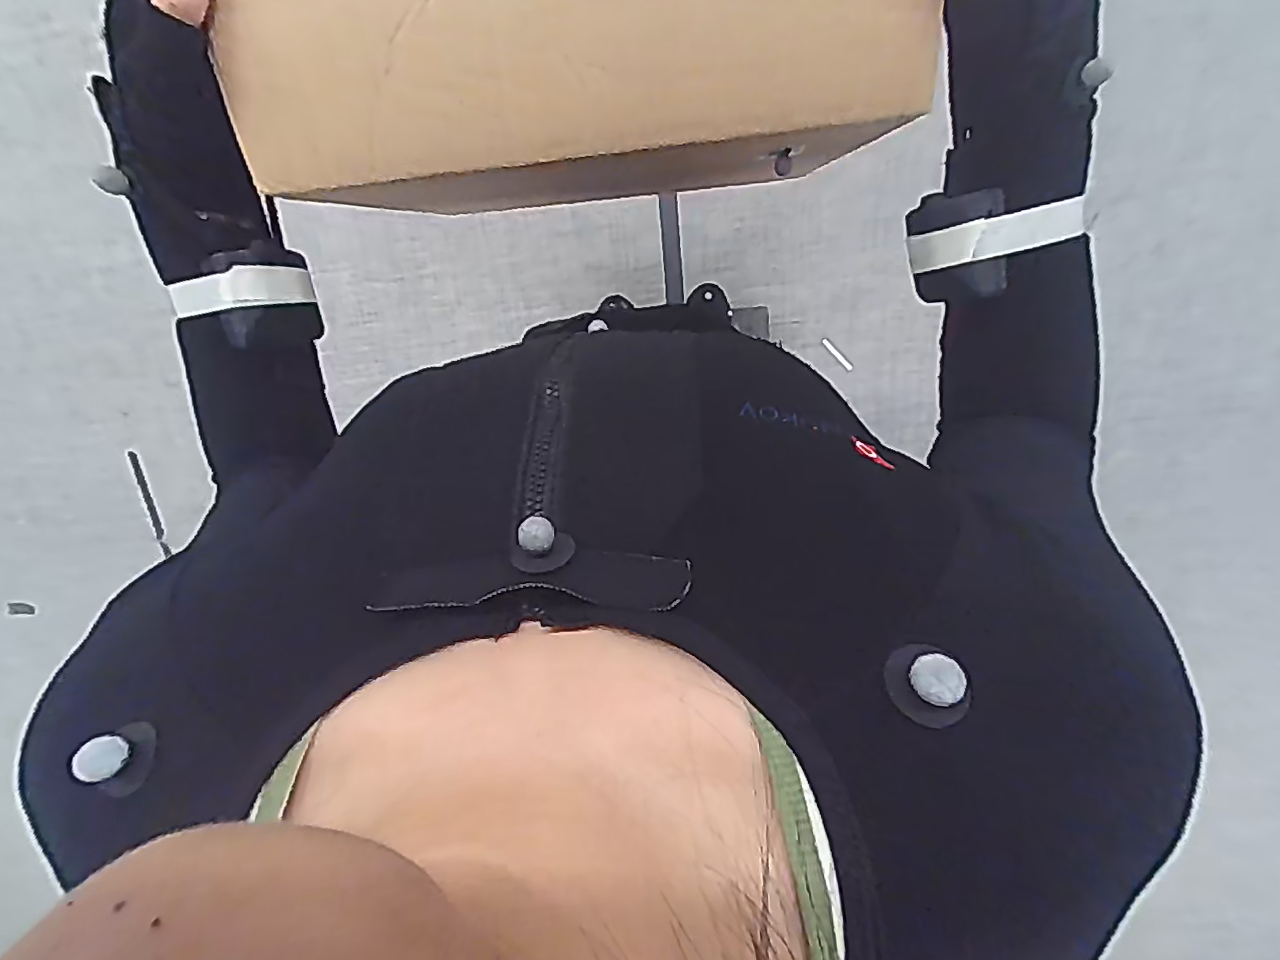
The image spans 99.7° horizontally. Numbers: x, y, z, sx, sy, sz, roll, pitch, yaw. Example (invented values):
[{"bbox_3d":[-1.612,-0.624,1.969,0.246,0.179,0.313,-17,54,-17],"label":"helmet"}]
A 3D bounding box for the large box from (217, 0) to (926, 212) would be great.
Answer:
[{"bbox_3d":[-0.041,-0.398,0.409,0.408,0.320,0.320,-4,113,5],"label":"large box"}]

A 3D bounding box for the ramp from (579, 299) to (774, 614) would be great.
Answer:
[{"bbox_3d":[0.145,0.000,1.606,0.509,0.206,0.991,-7,108,6],"label":"ramp"}]
